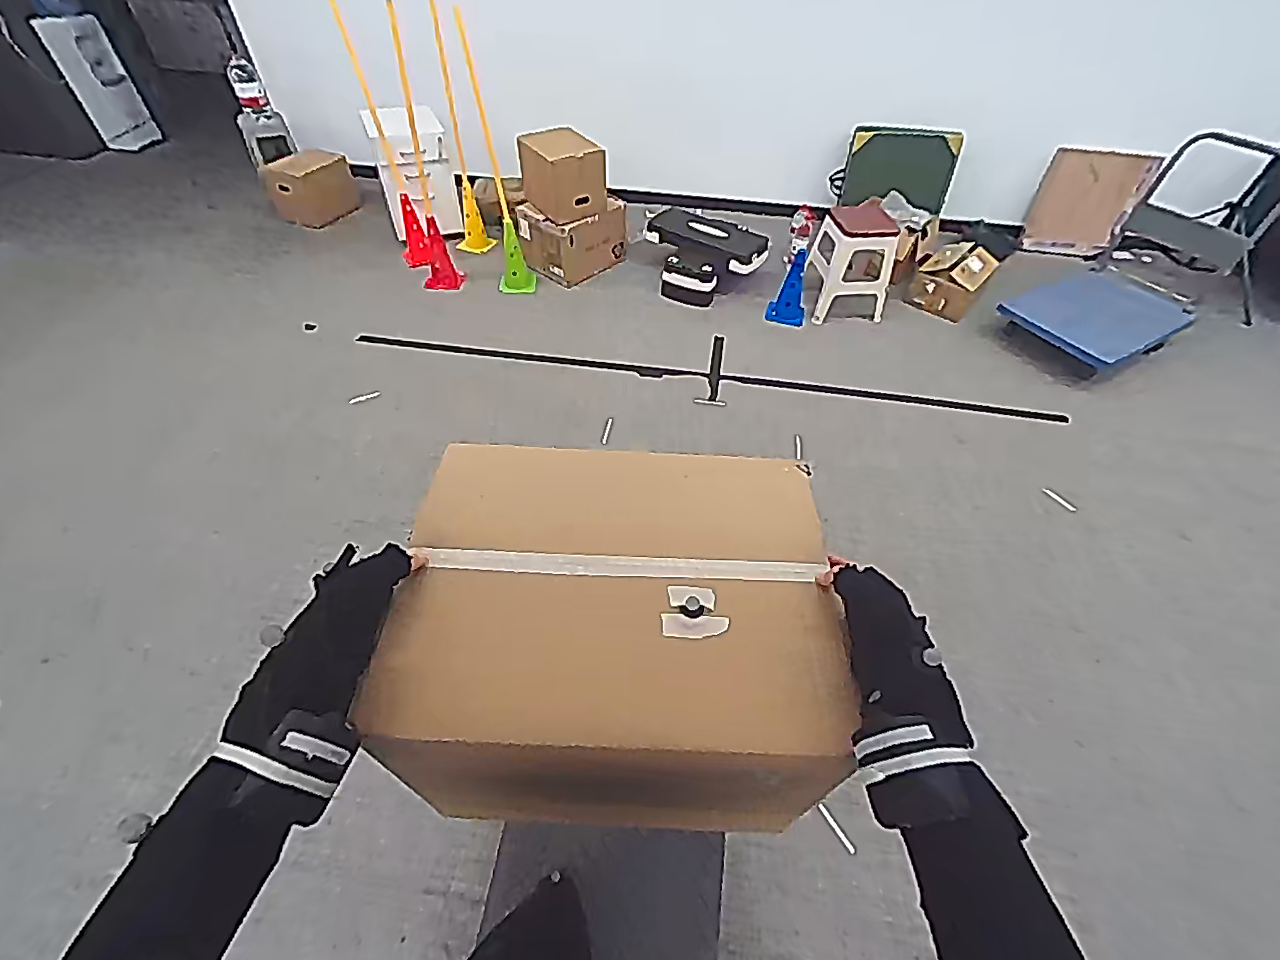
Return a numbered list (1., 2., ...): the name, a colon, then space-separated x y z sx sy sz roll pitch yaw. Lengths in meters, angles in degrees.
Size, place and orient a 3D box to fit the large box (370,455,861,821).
1. large box: -0.022 0.190 0.639 0.408 0.320 0.320 3 48 0
